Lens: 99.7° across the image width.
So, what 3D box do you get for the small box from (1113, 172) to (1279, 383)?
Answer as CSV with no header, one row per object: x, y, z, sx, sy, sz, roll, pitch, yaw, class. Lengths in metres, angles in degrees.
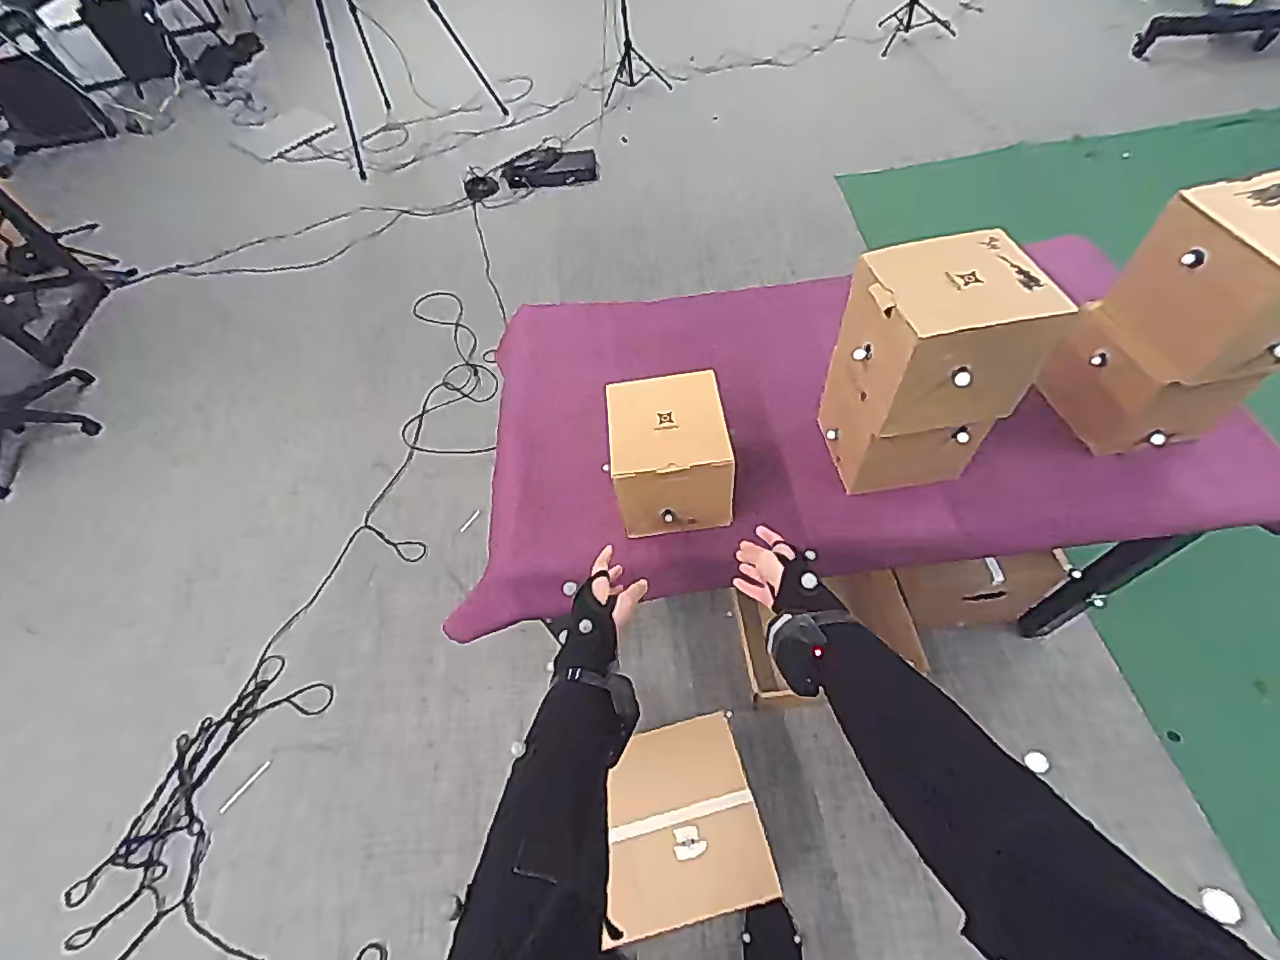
0.750,-0.248,0.663,0.168,0.176,0.179,-11,54,3,small box

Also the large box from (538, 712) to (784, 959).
0.037,0.723,1.114,0.408,0.320,0.320,-14,55,-3,large box

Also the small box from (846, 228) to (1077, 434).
0.369,-0.177,0.670,0.179,0.176,0.168,-10,54,2,small box

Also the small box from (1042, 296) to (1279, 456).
0.753,-0.161,0.803,0.168,0.176,0.179,-11,54,2,small box

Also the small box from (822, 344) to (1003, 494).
0.392,-0.099,0.814,0.179,0.176,0.168,-9,54,2,small box

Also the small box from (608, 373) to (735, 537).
0.046,-0.035,0.823,0.168,0.176,0.179,-8,55,3,small box
